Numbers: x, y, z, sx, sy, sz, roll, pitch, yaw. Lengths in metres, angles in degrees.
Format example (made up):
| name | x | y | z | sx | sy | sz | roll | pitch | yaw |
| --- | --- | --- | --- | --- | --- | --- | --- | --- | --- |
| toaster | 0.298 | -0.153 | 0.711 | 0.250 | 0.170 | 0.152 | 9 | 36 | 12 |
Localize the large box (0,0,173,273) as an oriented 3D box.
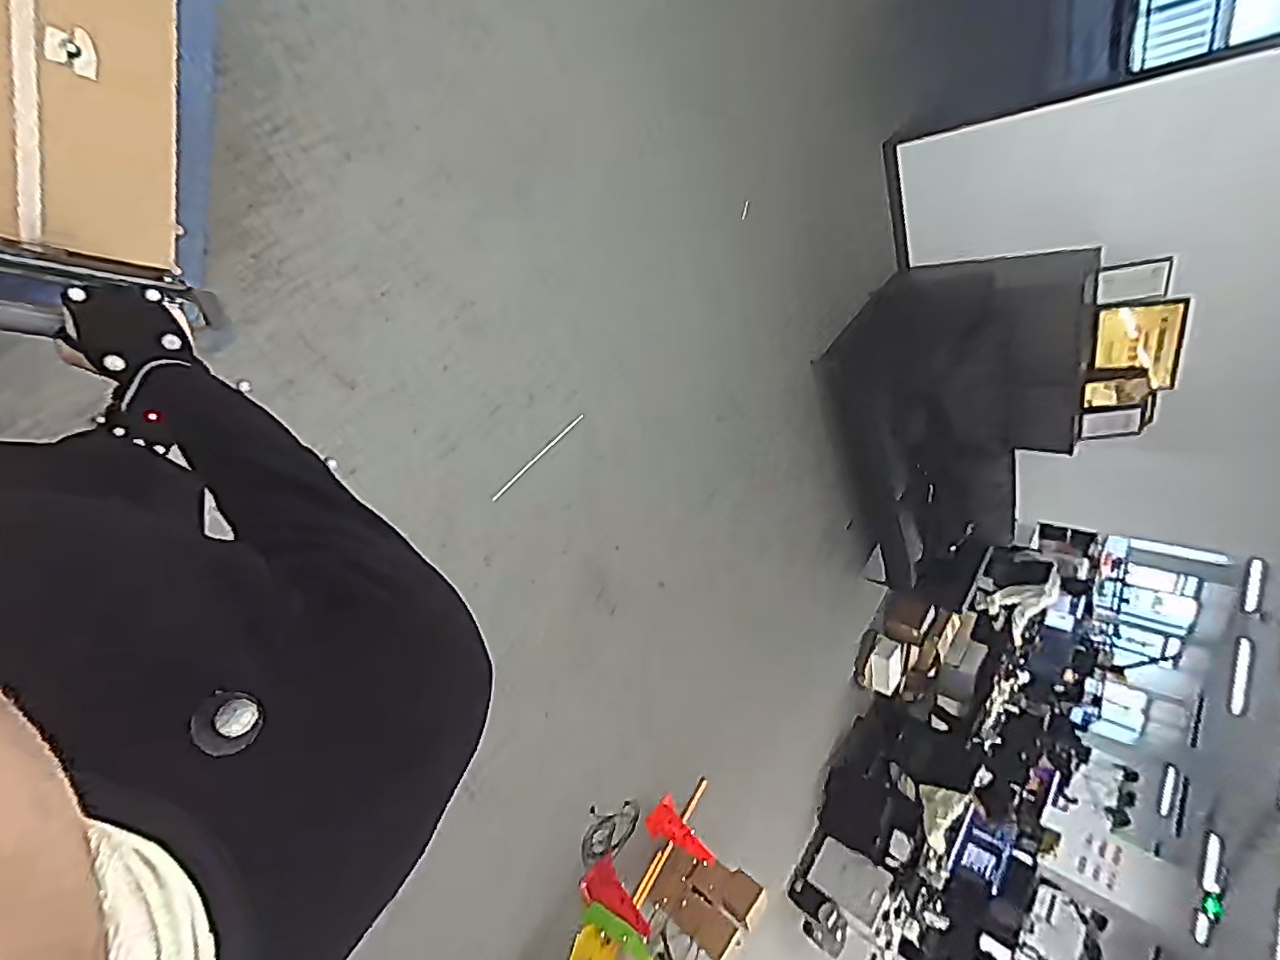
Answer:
| name | x | y | z | sx | sy | sz | roll | pitch | yaw |
| --- | --- | --- | --- | --- | --- | --- | --- | --- | --- |
| large box | -0.950 | -0.571 | 0.843 | 0.320 | 0.320 | 0.408 | -1 | 103 | -45 |
